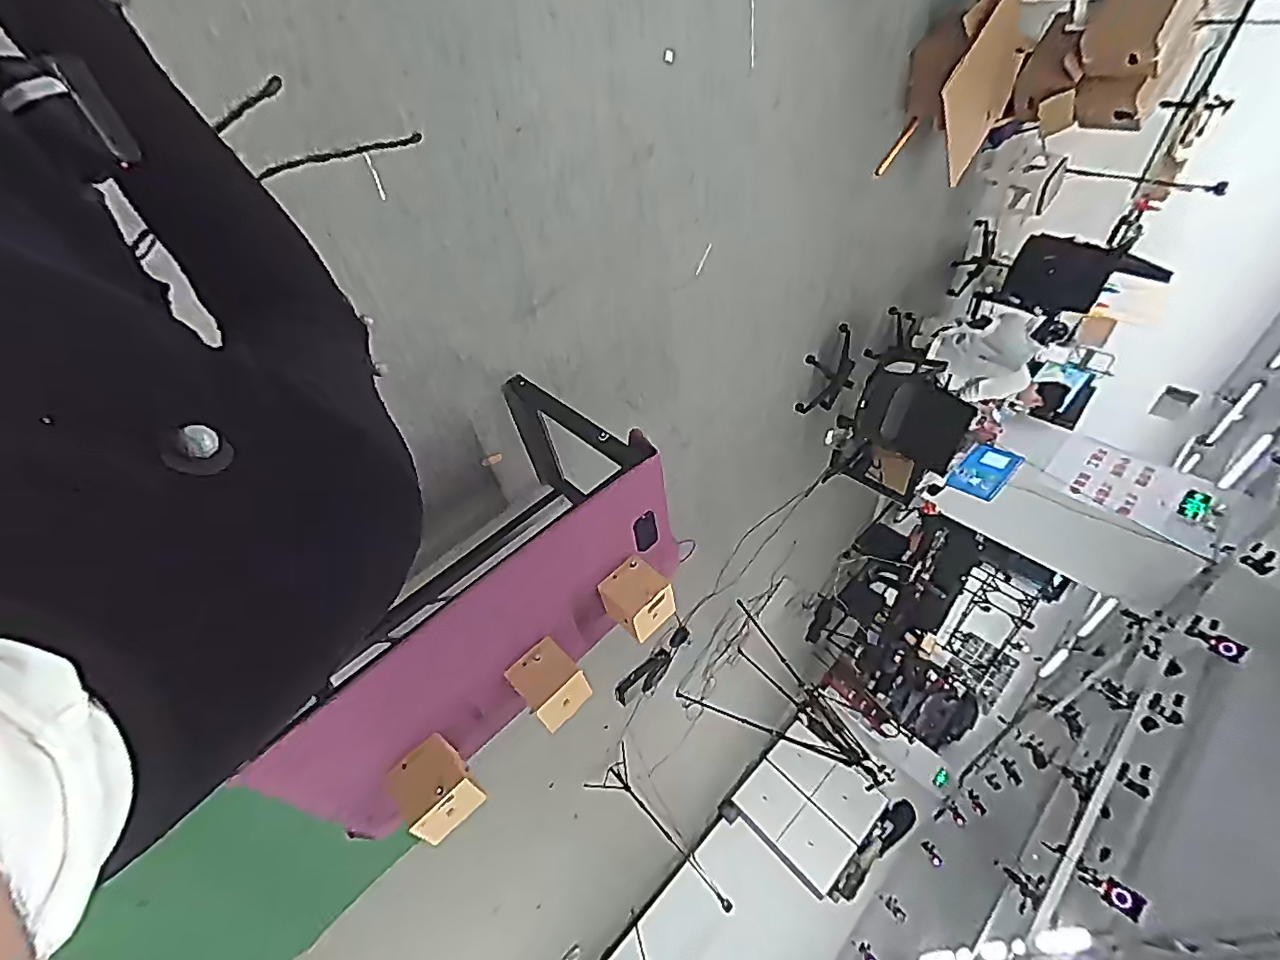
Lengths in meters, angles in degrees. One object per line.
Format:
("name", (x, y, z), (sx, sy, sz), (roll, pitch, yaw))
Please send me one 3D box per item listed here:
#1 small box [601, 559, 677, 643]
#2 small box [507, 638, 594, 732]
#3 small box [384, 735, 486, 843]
("small box", (-0.003, 0.377, 1.723), (0.168, 0.176, 0.179), (-38, 142, -22))
("small box", (-0.265, 0.602, 1.602), (0.168, 0.176, 0.179), (-39, 142, -23))
("small box", (-0.546, 0.822, 1.448), (0.168, 0.176, 0.179), (-38, 142, -25))
